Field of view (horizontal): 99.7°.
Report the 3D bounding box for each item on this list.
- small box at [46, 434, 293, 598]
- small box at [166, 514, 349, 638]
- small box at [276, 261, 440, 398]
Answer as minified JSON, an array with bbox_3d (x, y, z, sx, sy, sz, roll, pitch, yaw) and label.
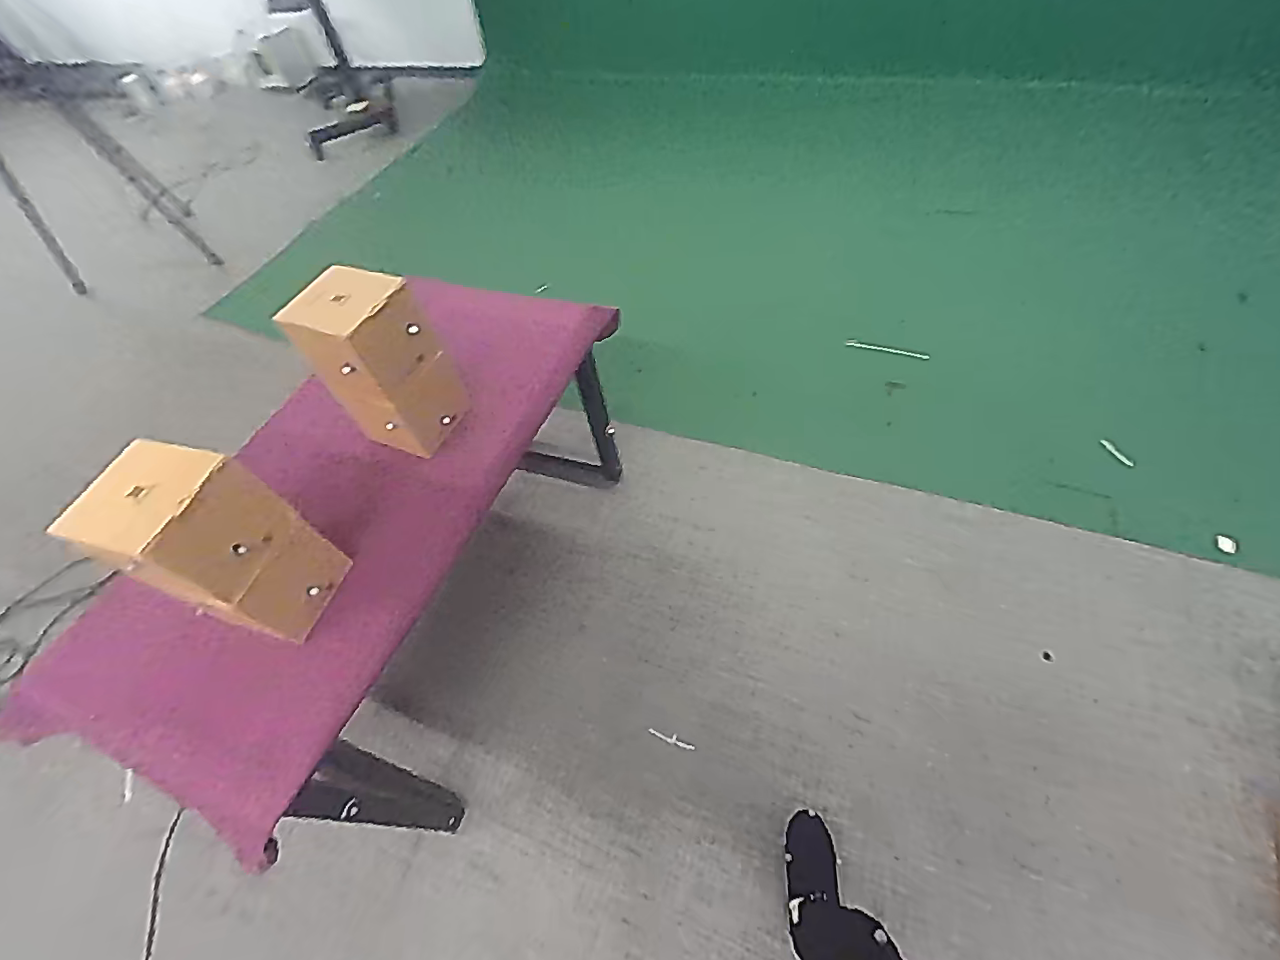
[{"bbox_3d":[-0.675,0.056,0.800,0.179,0.176,0.168,10,56,14],"label":"small box"},{"bbox_3d":[-0.654,0.153,0.930,0.179,0.176,0.168,11,58,15],"label":"small box"},{"bbox_3d":[-0.512,-0.276,1.012,0.179,0.176,0.168,17,59,18],"label":"small box"}]
